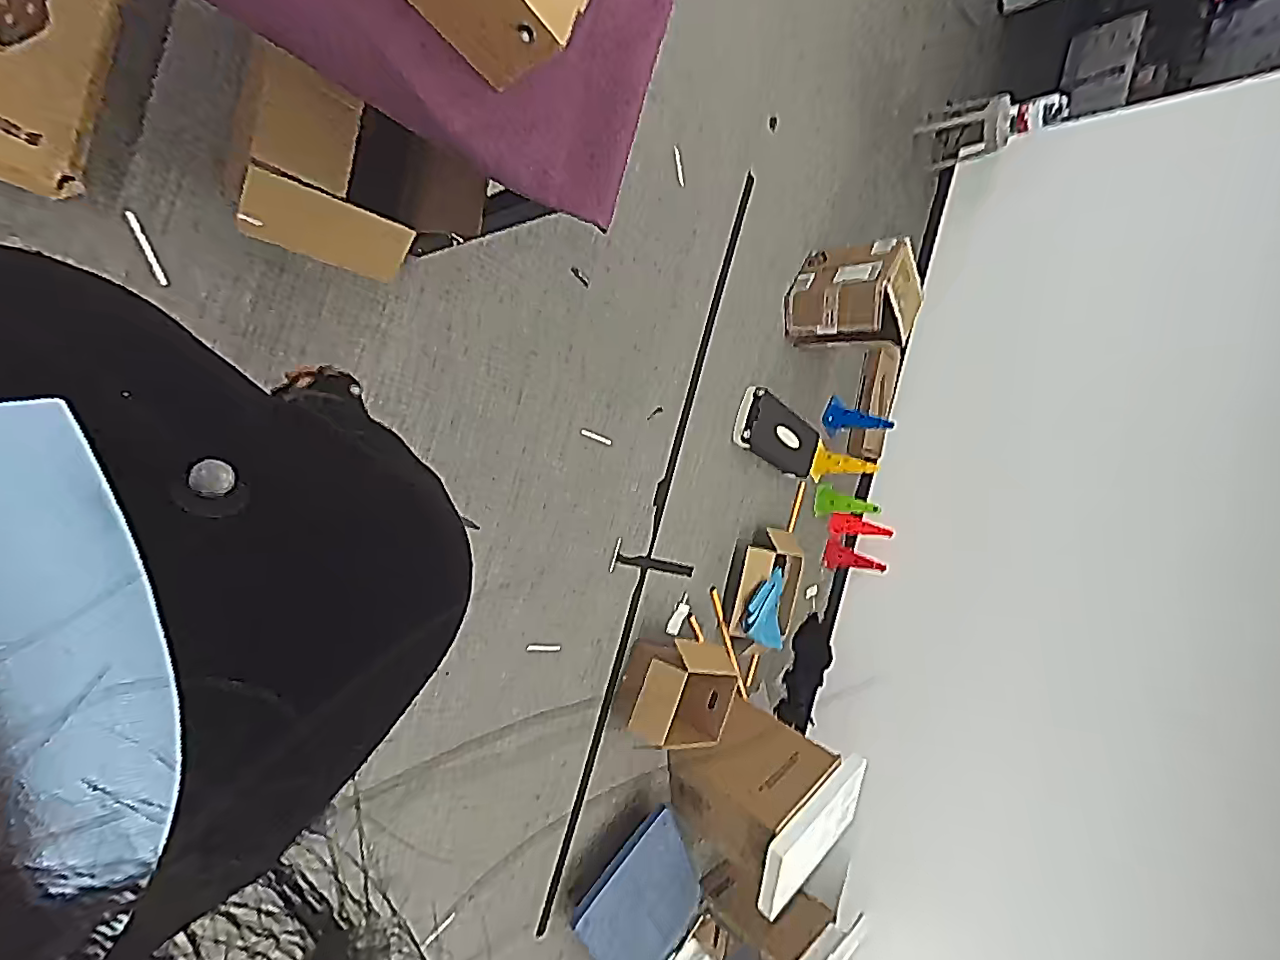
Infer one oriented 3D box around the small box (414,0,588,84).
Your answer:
[{"bbox_3d":[-0.176,-0.660,0.689,0.179,0.176,0.168,27,80,-46],"label":"small box"}]
